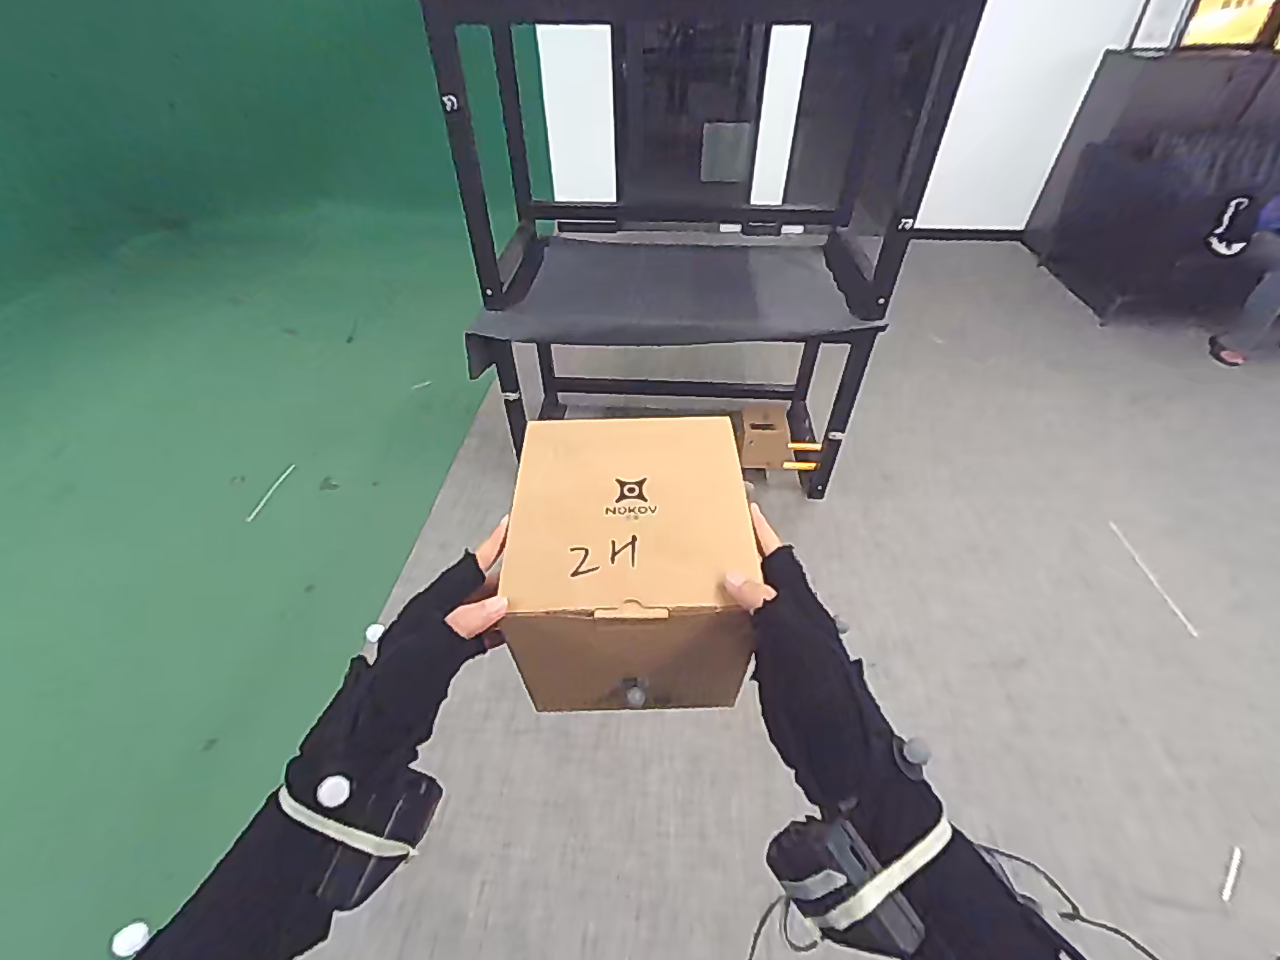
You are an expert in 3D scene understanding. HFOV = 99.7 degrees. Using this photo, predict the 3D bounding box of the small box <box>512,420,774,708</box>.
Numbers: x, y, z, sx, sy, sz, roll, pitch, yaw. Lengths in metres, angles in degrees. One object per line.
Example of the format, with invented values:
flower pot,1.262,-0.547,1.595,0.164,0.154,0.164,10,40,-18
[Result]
small box,0.002,0.069,0.447,0.168,0.176,0.179,-1,47,0
